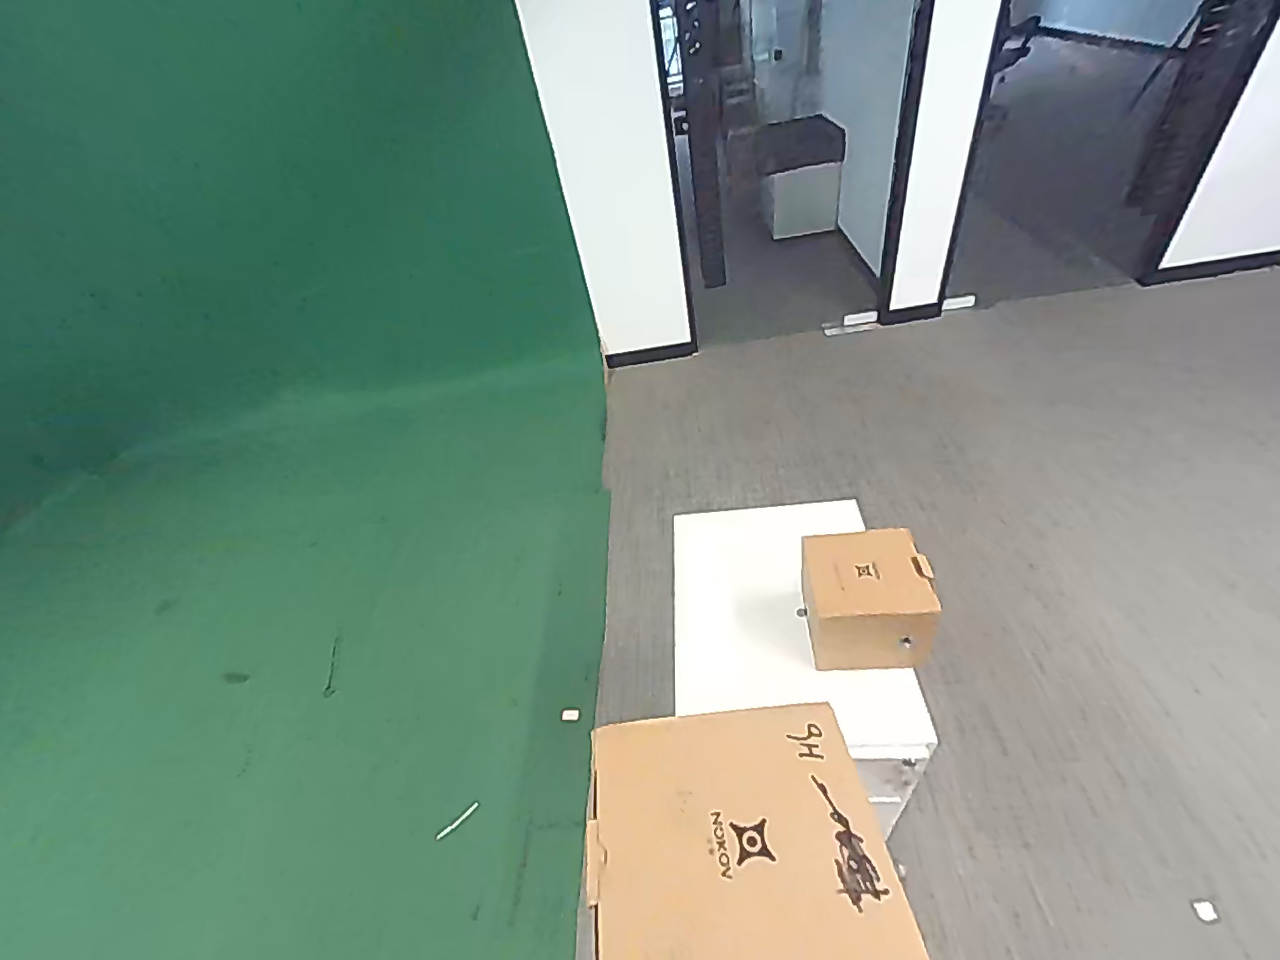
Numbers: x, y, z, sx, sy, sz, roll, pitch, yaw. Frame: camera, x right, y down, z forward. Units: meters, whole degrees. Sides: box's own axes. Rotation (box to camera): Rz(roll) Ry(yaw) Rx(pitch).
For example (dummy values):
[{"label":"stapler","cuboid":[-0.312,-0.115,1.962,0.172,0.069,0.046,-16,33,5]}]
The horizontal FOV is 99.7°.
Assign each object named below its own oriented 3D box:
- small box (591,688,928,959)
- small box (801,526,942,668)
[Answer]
[{"label":"small box","cuboid":[0.063,0.274,0.381,0.179,0.176,0.168,-6,38,-1]},{"label":"small box","cuboid":[0.370,0.197,0.901,0.179,0.176,0.168,-6,42,10]}]
